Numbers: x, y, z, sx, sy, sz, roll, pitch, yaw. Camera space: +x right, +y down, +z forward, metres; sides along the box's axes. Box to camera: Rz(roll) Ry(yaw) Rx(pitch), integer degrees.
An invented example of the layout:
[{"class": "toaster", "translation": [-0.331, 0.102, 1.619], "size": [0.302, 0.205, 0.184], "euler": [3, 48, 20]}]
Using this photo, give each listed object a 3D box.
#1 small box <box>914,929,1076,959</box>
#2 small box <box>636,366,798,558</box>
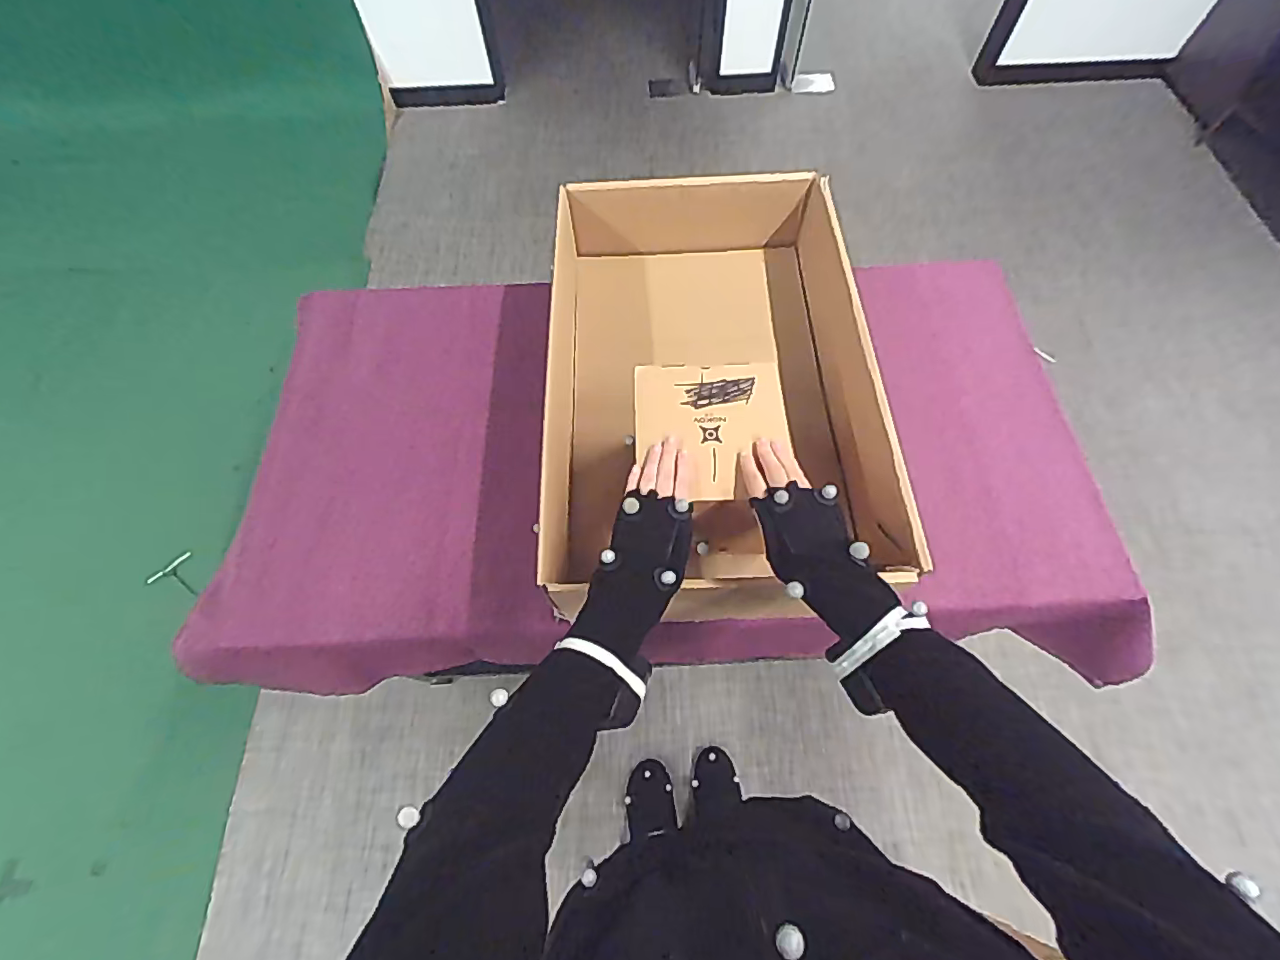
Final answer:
[{"class": "small box", "translation": [0.520, 0.768, 0.770], "size": [0.168, 0.176, 0.179], "euler": [-1, 63, 1]}, {"class": "small box", "translation": [0.078, -0.016, 0.653], "size": [0.168, 0.176, 0.179], "euler": [-2, 63, 1]}]
